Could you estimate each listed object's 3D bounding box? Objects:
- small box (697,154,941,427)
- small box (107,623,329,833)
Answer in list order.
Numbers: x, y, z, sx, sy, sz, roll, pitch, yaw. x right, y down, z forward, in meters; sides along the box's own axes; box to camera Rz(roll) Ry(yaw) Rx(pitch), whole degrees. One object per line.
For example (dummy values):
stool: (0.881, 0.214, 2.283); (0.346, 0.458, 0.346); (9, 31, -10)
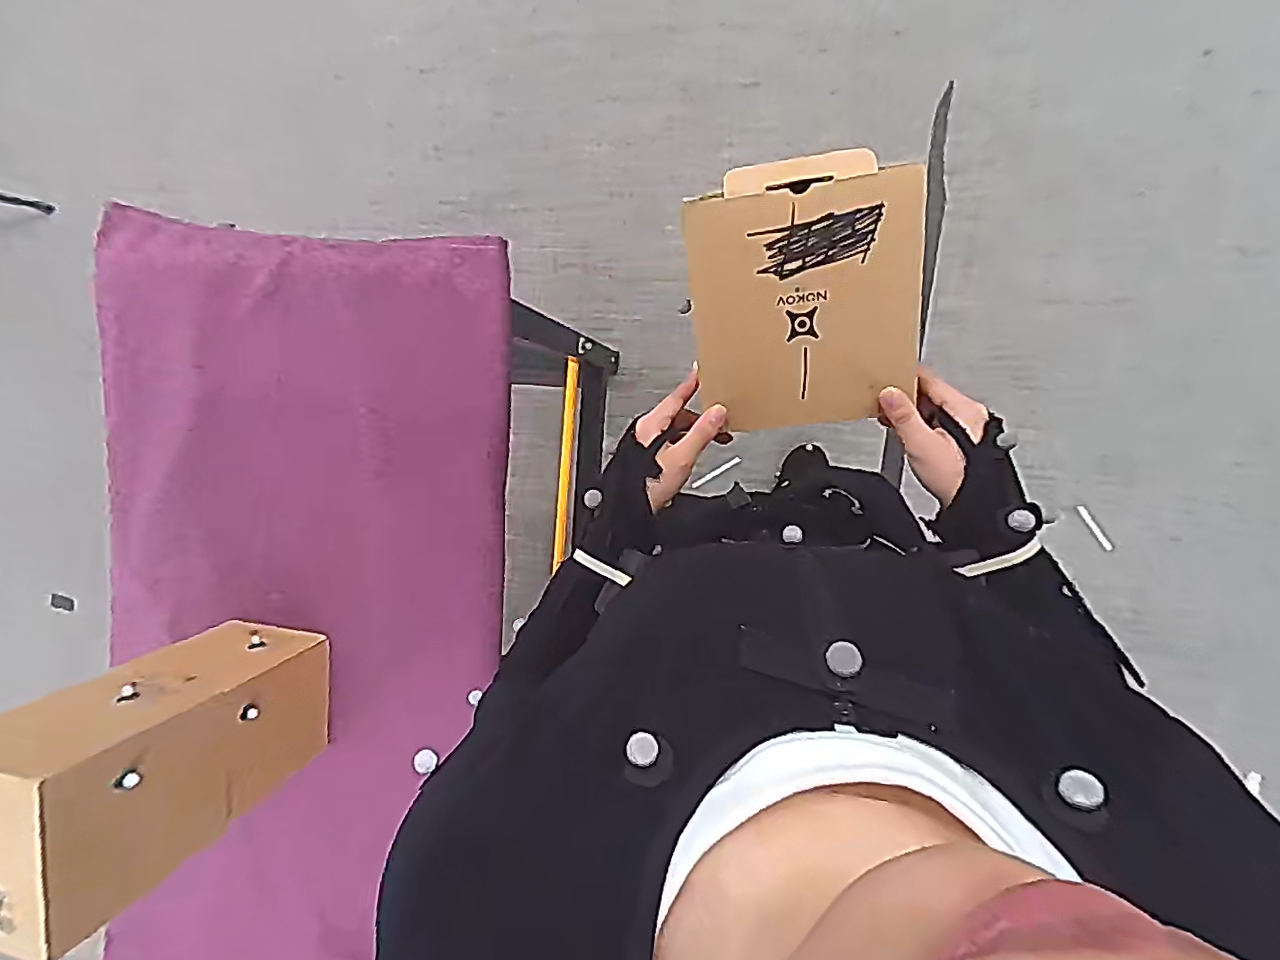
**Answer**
small box: (0.137, -0.157, 0.469); (0.168, 0.176, 0.179); (-4, 112, 9)
small box: (-0.542, 0.311, 0.714); (0.168, 0.176, 0.179); (5, 96, 10)
